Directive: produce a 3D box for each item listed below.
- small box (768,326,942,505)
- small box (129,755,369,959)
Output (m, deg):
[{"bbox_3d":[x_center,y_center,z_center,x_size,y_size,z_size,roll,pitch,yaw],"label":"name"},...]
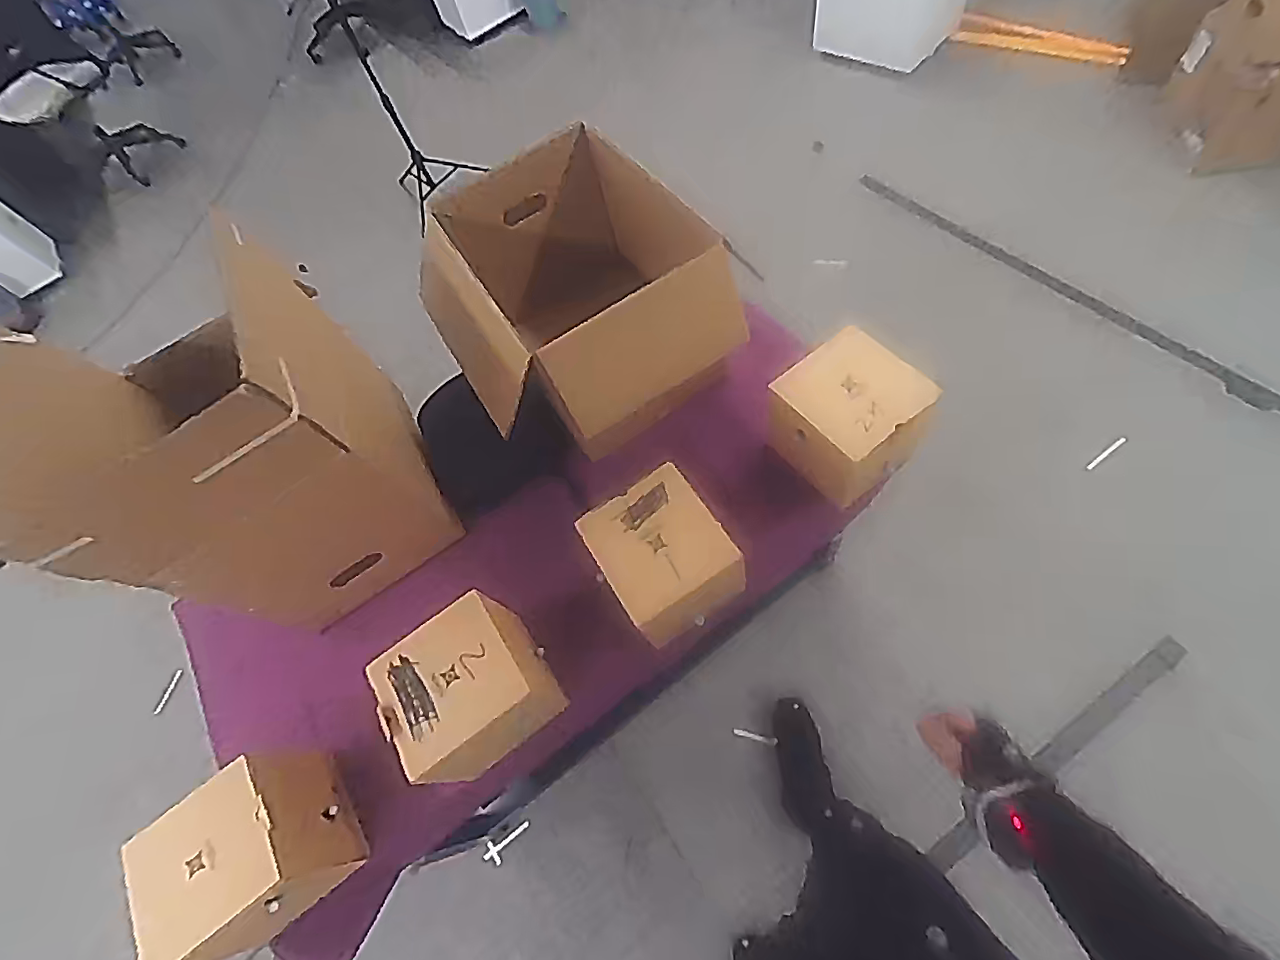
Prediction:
[{"bbox_3d":[0.313,-0.092,0.832,0.168,0.176,0.179,-37,63,-6],"label":"small box"},{"bbox_3d":[-0.505,0.496,0.715,0.179,0.176,0.168,-38,62,-10],"label":"small box"}]
